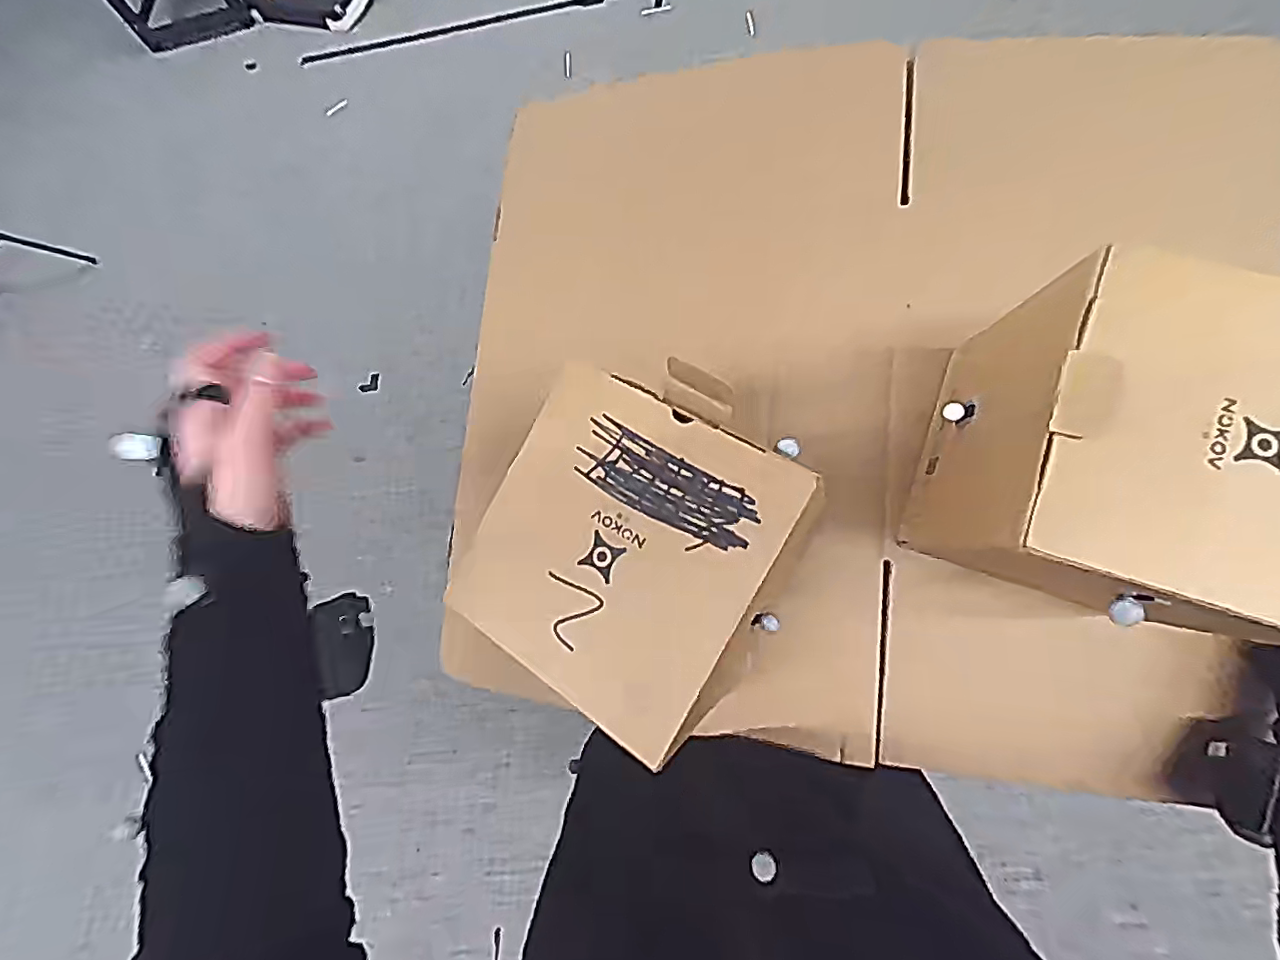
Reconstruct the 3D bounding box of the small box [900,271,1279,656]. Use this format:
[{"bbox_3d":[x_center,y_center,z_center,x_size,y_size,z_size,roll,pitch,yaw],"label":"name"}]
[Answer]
[{"bbox_3d":[0.304,-0.002,0.351,0.179,0.176,0.168,18,86,9],"label":"small box"}]
